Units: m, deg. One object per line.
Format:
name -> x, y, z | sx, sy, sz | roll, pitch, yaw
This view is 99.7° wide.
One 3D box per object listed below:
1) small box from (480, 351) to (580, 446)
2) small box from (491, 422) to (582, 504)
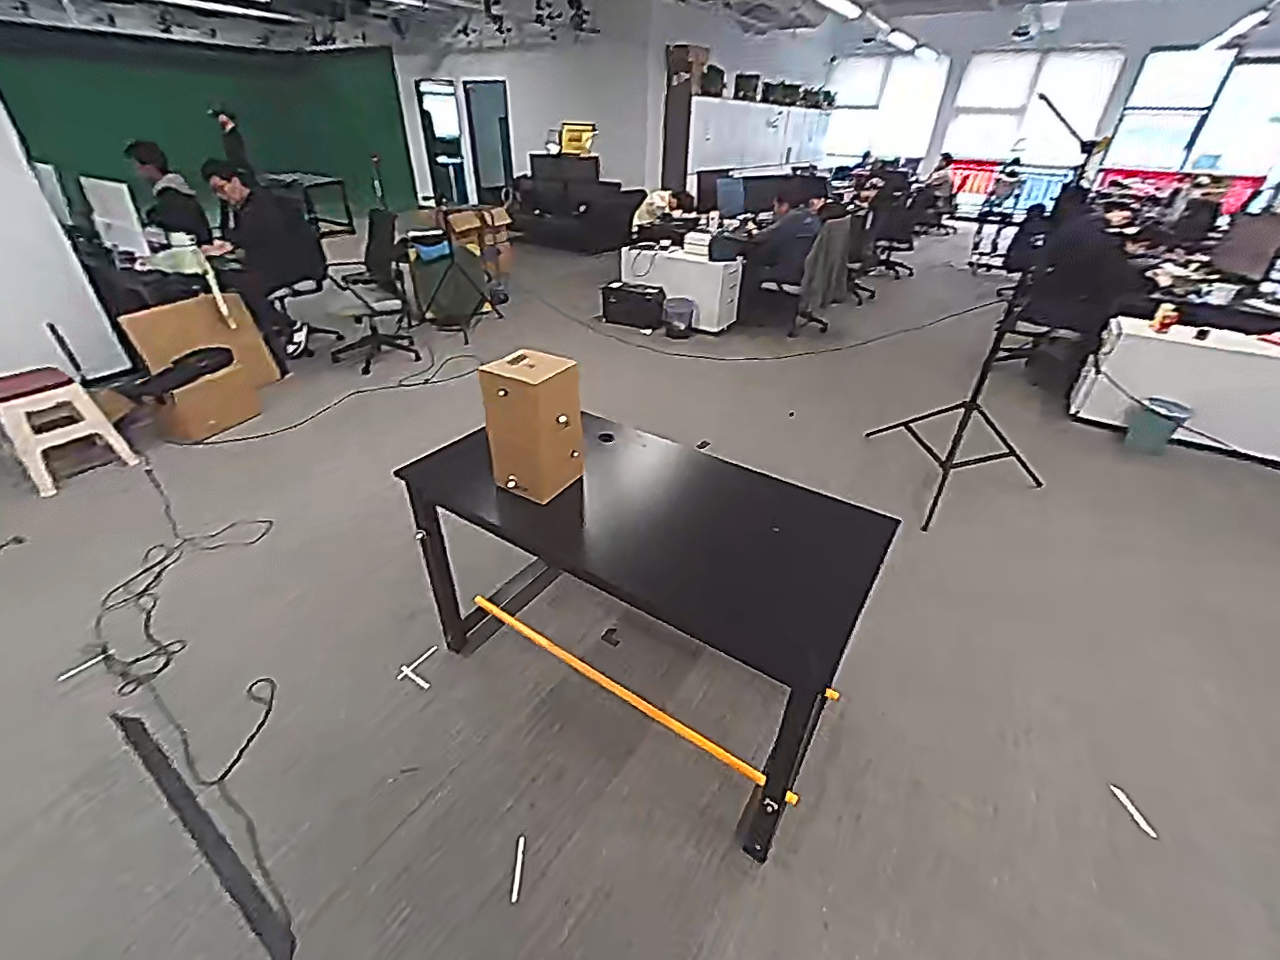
small box -> -0.265, -0.201, 1.333 | 0.179, 0.176, 0.168 | 18, 37, 23
small box -> -0.266, -0.064, 1.425 | 0.168, 0.176, 0.179 | 18, 37, 24
